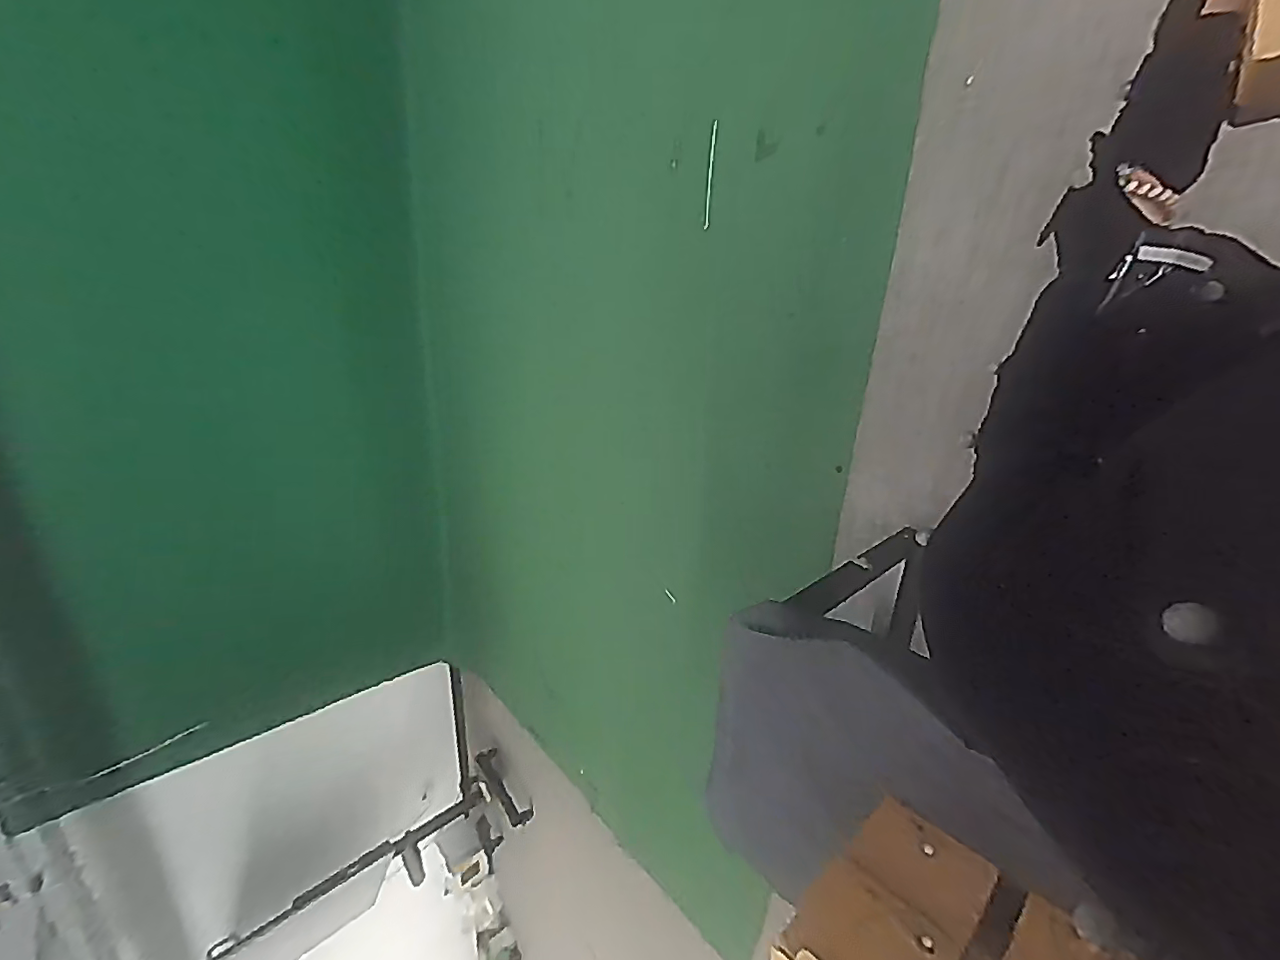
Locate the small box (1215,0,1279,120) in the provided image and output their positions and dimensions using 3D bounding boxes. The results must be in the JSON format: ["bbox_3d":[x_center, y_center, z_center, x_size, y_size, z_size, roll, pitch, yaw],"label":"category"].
[{"bbox_3d":[0.447,-0.323,0.283,0.179,0.176,0.168,8,108,42],"label":"small box"}]
